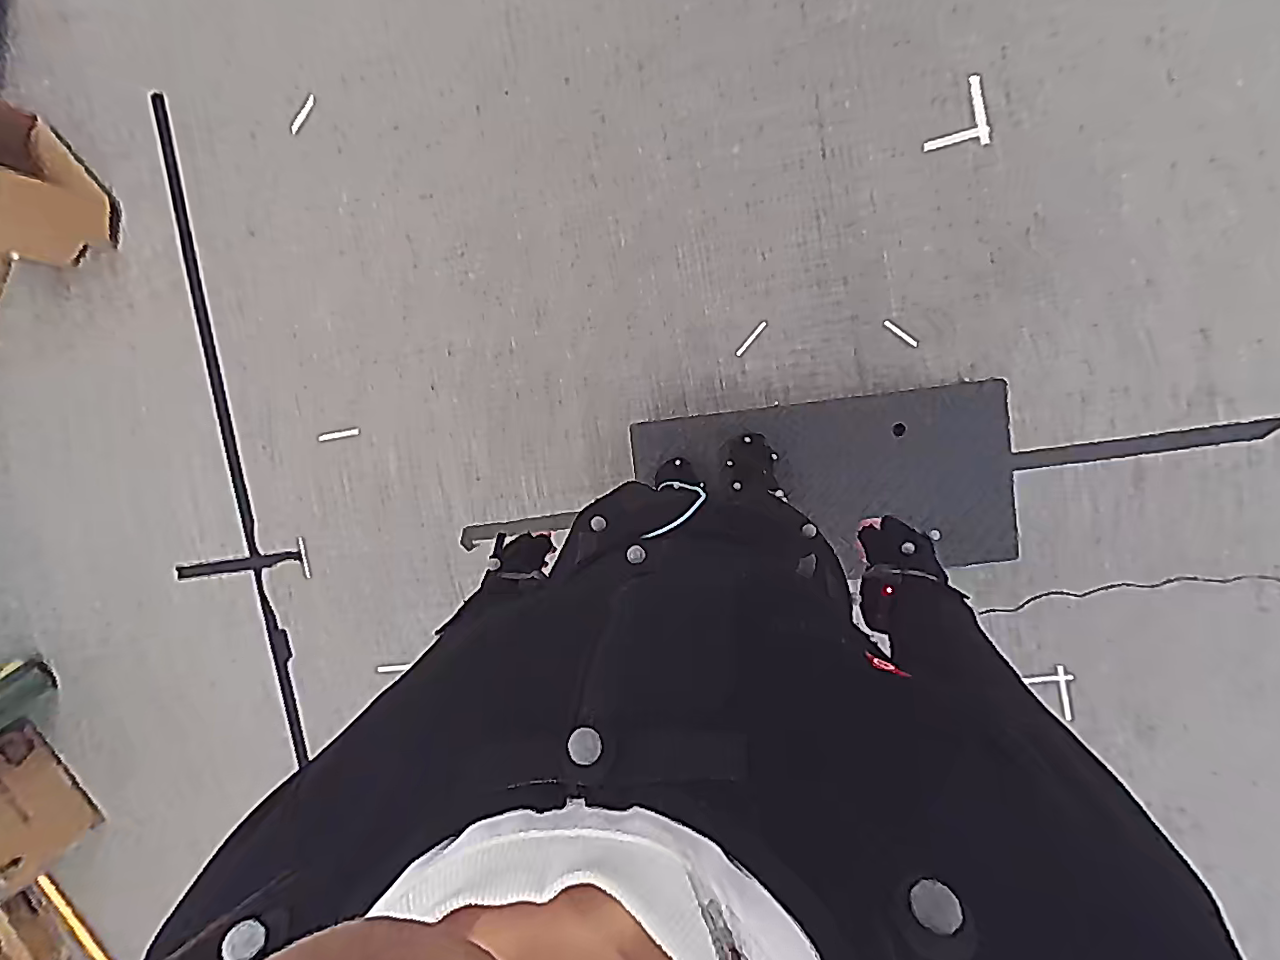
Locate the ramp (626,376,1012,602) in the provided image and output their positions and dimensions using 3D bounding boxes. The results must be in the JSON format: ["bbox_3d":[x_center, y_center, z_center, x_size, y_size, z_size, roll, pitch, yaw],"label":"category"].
[{"bbox_3d":[0.483,0.023,1.449,0.991,0.206,0.509,-8,93,10],"label":"ramp"}]
